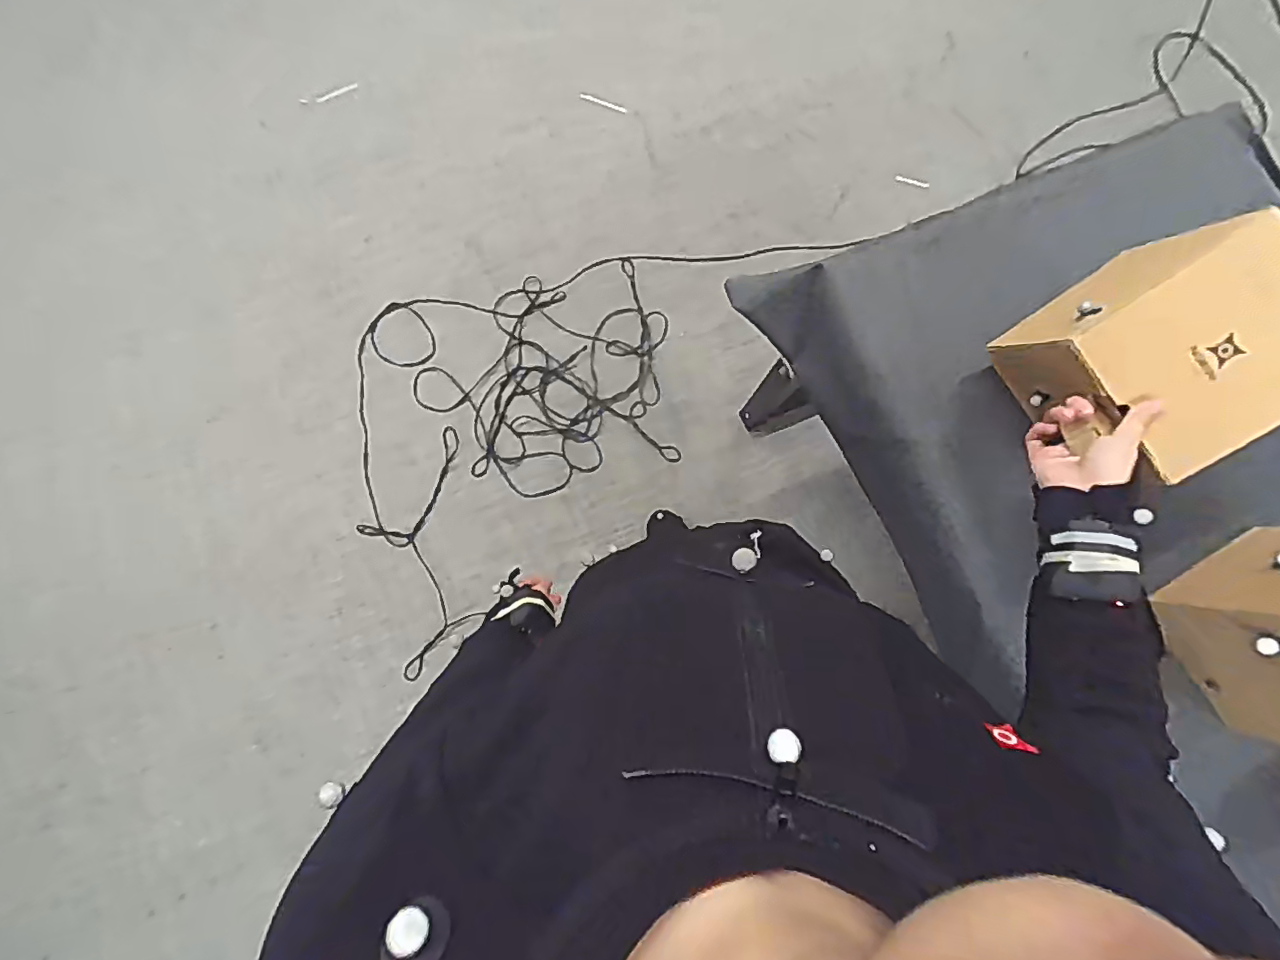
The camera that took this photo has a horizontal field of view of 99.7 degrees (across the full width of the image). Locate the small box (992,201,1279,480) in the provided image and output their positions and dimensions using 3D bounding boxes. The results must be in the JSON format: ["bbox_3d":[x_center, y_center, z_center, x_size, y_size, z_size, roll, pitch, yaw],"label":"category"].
[{"bbox_3d":[0.503,-0.128,0.532,0.179,0.176,0.168,-37,94,15],"label":"small box"}]
